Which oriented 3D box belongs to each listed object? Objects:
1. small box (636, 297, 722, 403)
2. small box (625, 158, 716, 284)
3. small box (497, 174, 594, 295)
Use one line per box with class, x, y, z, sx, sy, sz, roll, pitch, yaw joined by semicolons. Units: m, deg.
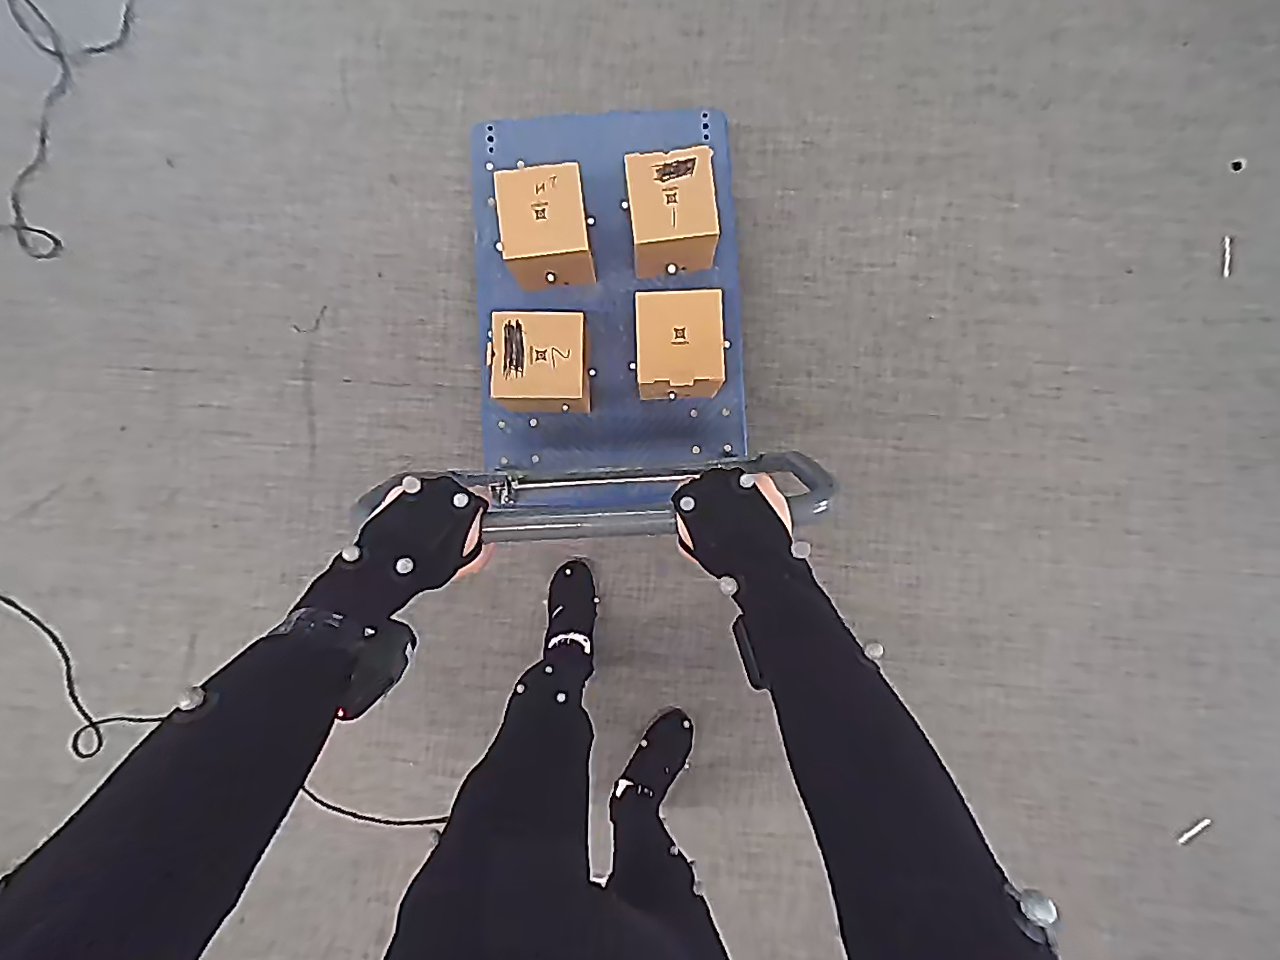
small box;0.075;-0.264;1.124;0.168;0.176;0.179;-2;88;0
small box;0.060;-0.534;1.132;0.168;0.176;0.179;-7;89;1
small box;-0.190;-0.502;1.134;0.168;0.176;0.179;-7;88;0
